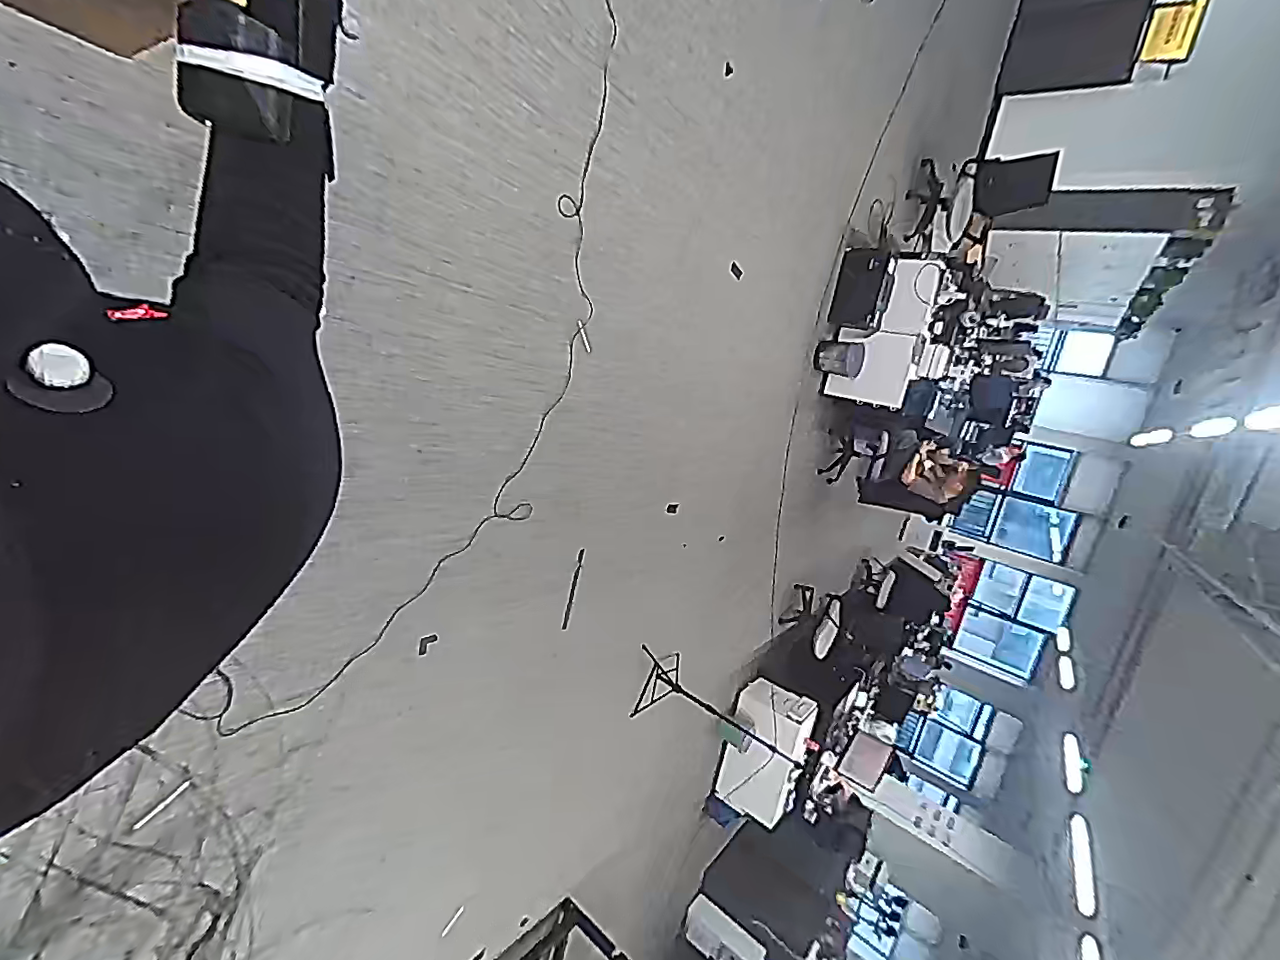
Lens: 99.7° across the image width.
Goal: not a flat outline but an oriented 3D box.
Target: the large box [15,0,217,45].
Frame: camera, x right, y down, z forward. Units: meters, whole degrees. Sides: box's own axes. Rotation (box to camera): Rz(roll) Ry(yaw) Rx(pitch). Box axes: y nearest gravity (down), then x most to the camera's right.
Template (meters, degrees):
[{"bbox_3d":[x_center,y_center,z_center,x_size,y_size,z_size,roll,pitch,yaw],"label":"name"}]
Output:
[{"bbox_3d":[-0.441,-0.482,0.223,0.408,0.320,0.320,-2,112,-54],"label":"large box"}]
